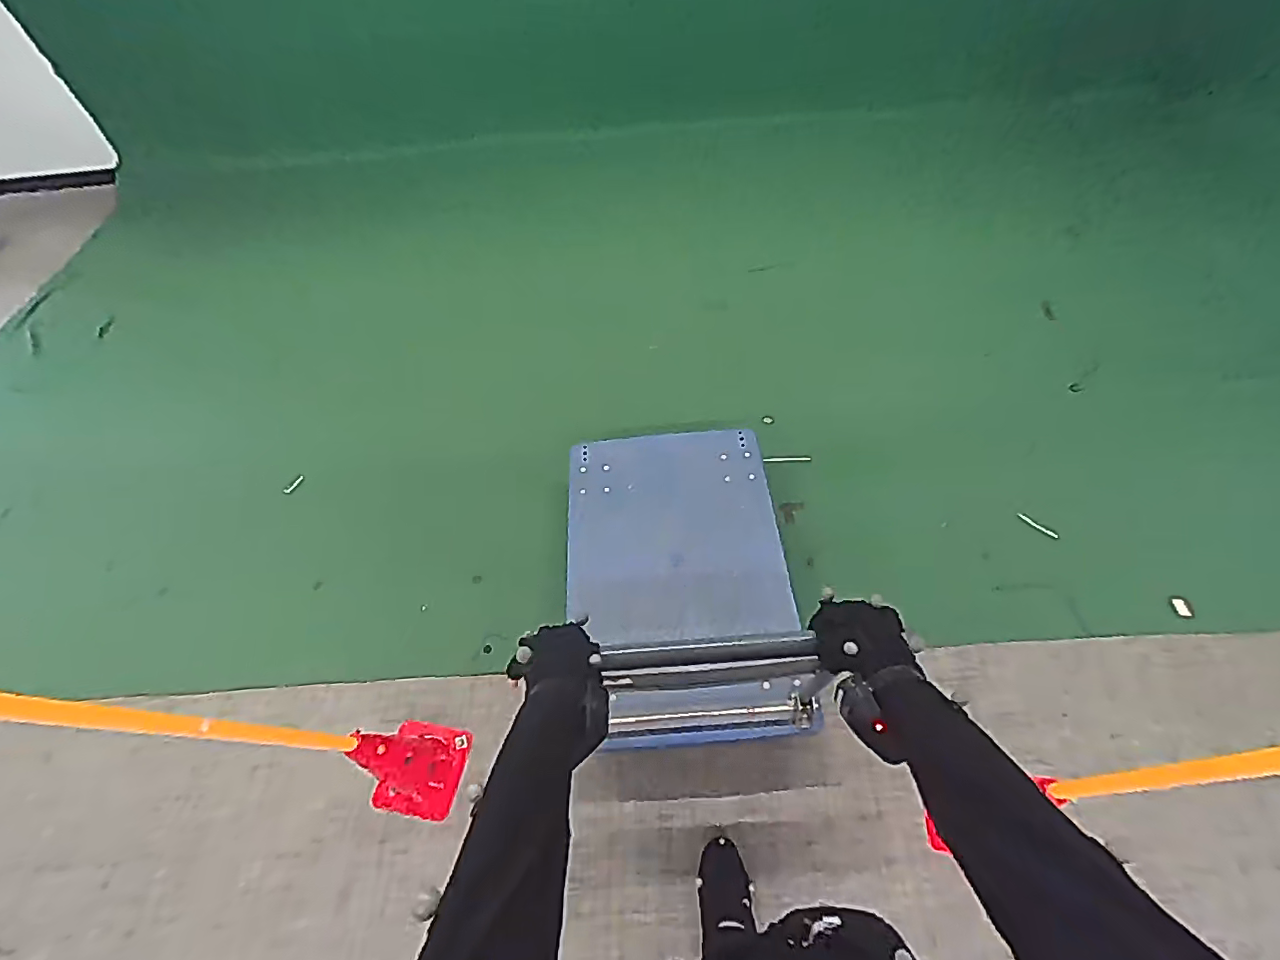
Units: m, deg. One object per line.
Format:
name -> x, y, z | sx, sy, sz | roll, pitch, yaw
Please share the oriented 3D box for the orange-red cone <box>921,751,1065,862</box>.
orange-red cone -> 0.732, 0.636, 1.080 | 0.198, 0.360, 0.199 | 5, 57, 9
